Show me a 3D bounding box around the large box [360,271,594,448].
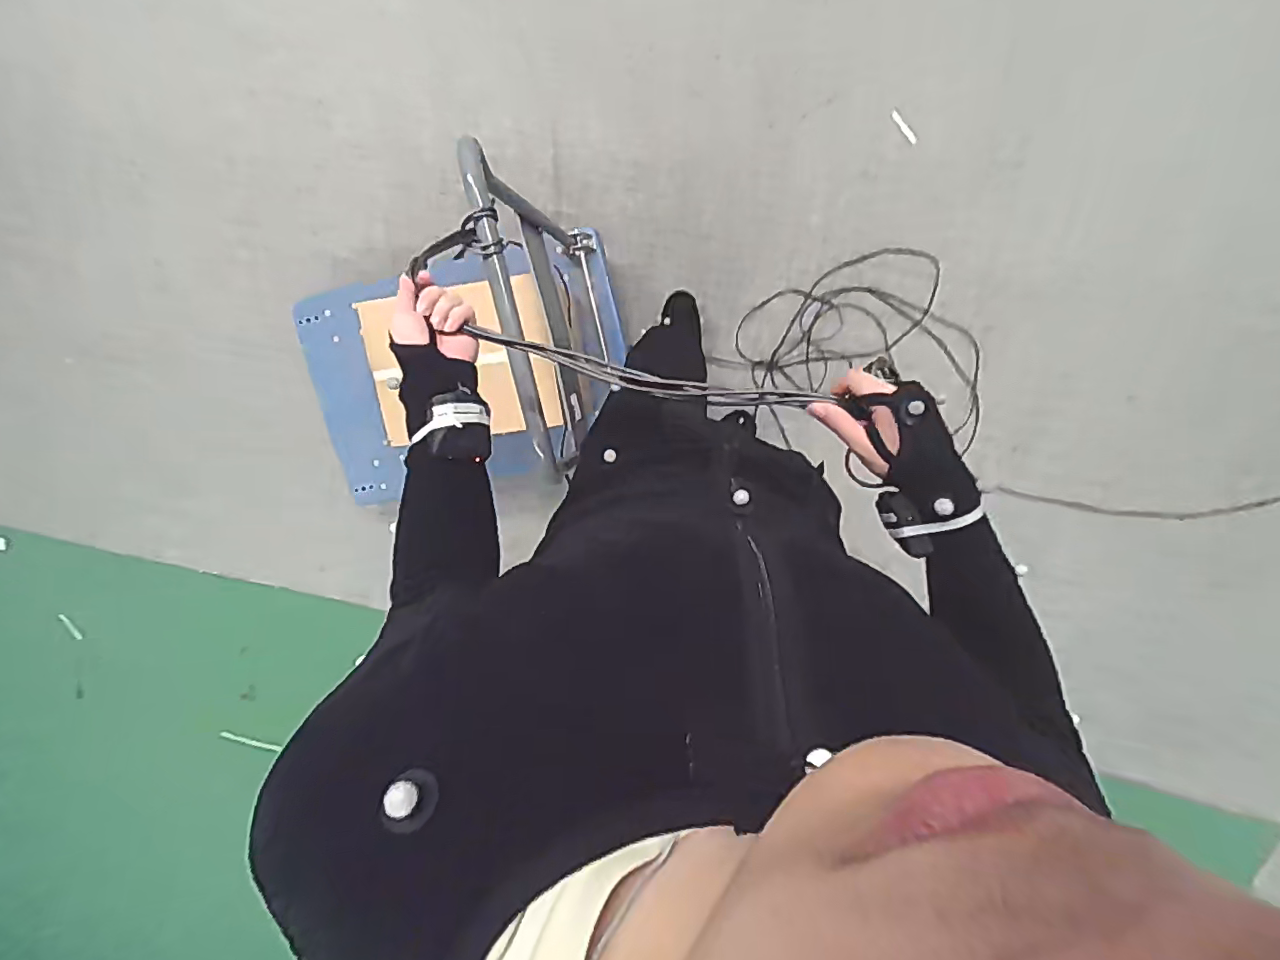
[{"bbox_3d":[-0.352,-0.275,1.271,0.408,0.320,0.320,-6,101,8],"label":"large box"}]
